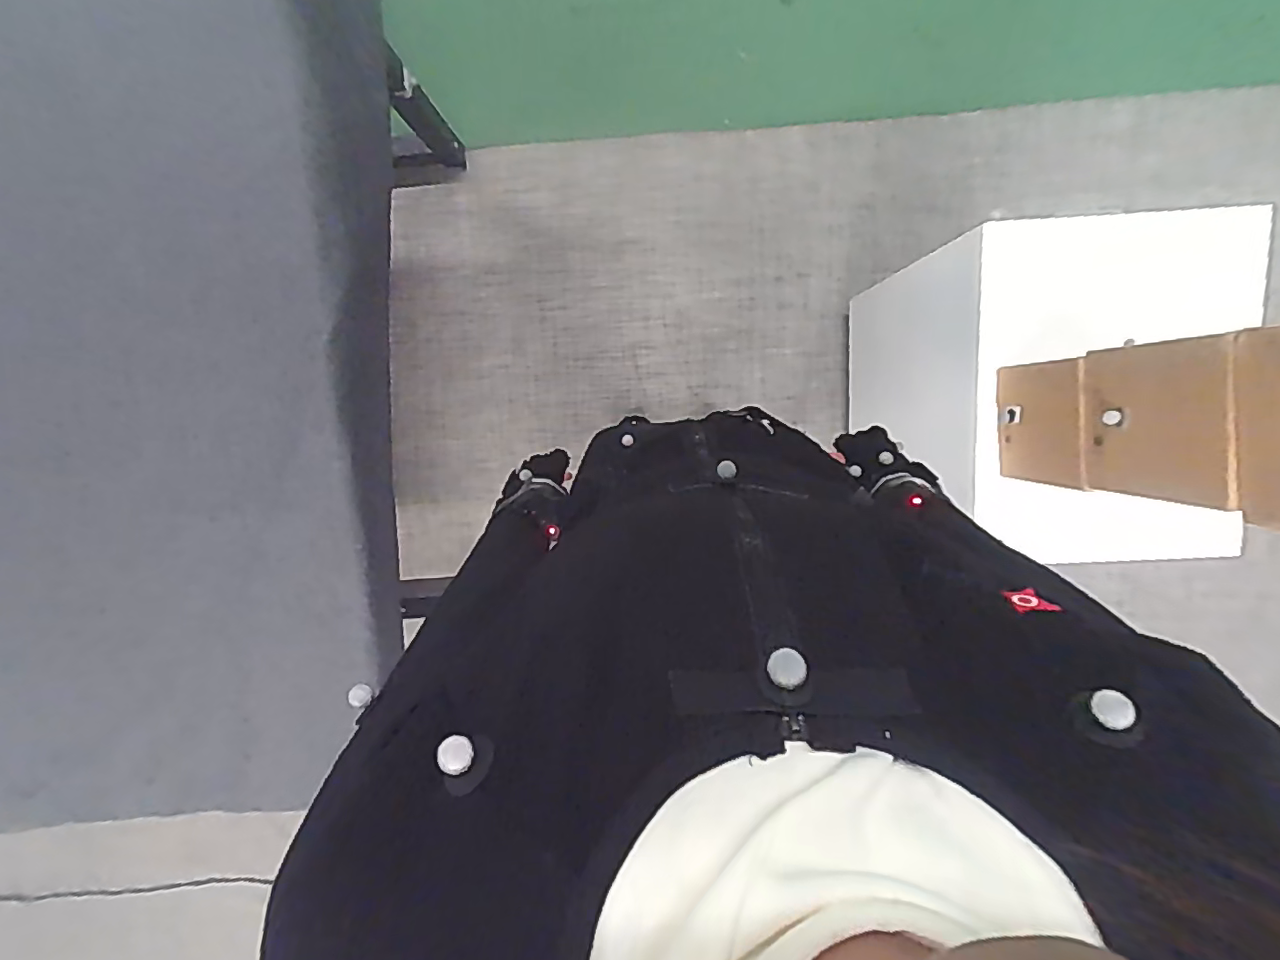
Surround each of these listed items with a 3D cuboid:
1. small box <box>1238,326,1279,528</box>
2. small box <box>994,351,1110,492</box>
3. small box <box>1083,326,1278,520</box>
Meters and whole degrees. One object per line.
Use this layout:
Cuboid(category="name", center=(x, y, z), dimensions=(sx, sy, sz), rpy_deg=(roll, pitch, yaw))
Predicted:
Cuboid(category="small box", center=(0.599, -0.044, 0.390), dimensions=(0.168, 0.176, 0.179), rpy_deg=(-8, 96, 3))
Cuboid(category="small box", center=(0.608, -0.084, 0.715), dimensions=(0.179, 0.176, 0.168), rpy_deg=(-7, 96, 4))
Cuboid(category="small box", center=(0.606, -0.066, 0.552), dimensions=(0.179, 0.176, 0.168), rpy_deg=(-9, 97, 2))
